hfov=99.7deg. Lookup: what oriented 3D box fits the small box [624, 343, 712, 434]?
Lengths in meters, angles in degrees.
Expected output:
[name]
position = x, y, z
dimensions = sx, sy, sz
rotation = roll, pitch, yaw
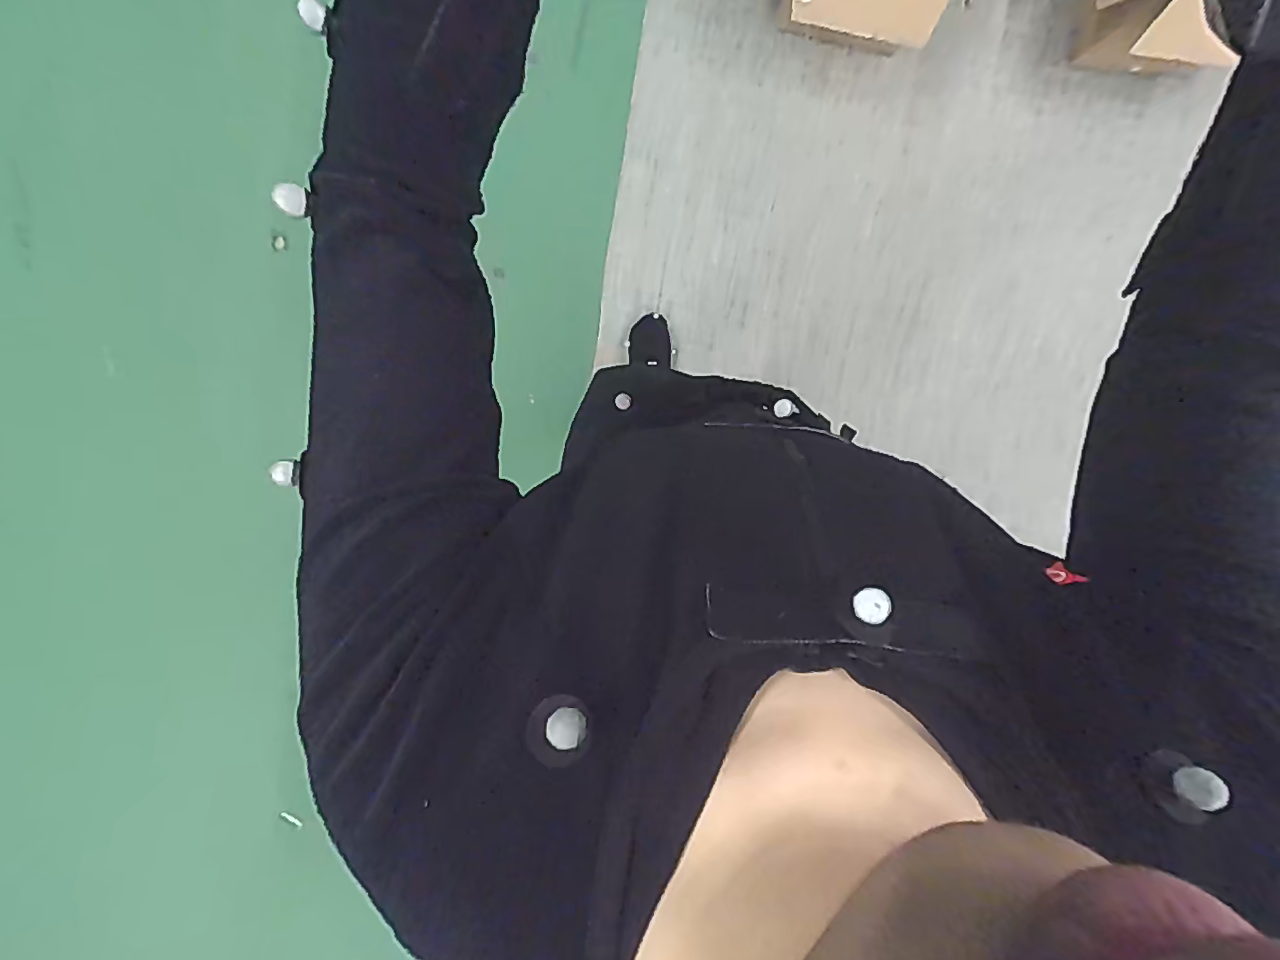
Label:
[small box]
position = 0.062, -0.237, 1.373
dimensions = 0.168, 0.176, 0.179
rotation = 17, 103, -12
